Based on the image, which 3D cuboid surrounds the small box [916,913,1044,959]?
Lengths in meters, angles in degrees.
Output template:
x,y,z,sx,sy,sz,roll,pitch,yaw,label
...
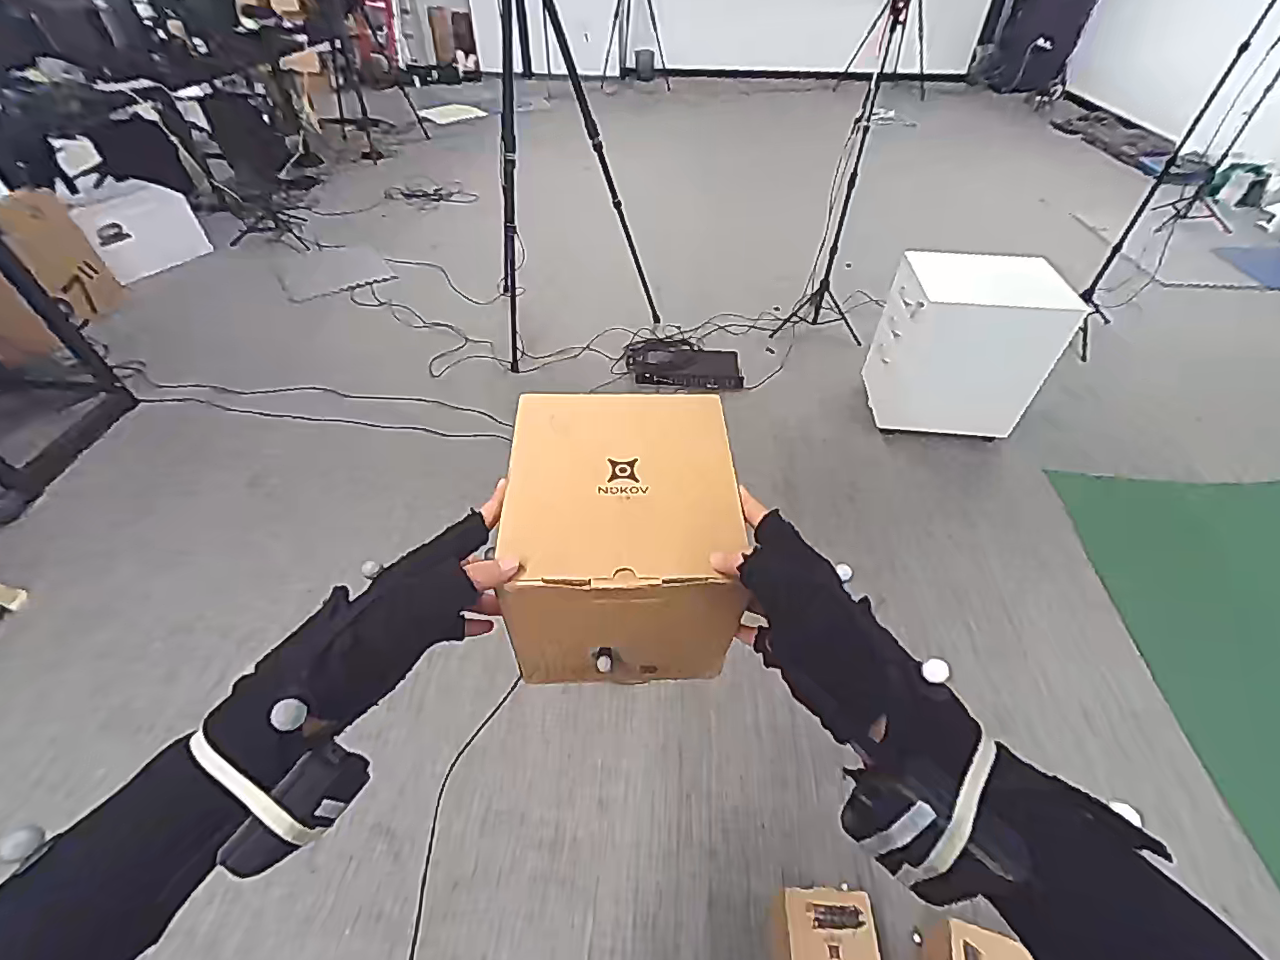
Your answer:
x,y,z,sx,sy,sz,roll,pitch,yaw,label
0.638,0.964,1.025,0.179,0.176,0.168,15,49,12,small box
